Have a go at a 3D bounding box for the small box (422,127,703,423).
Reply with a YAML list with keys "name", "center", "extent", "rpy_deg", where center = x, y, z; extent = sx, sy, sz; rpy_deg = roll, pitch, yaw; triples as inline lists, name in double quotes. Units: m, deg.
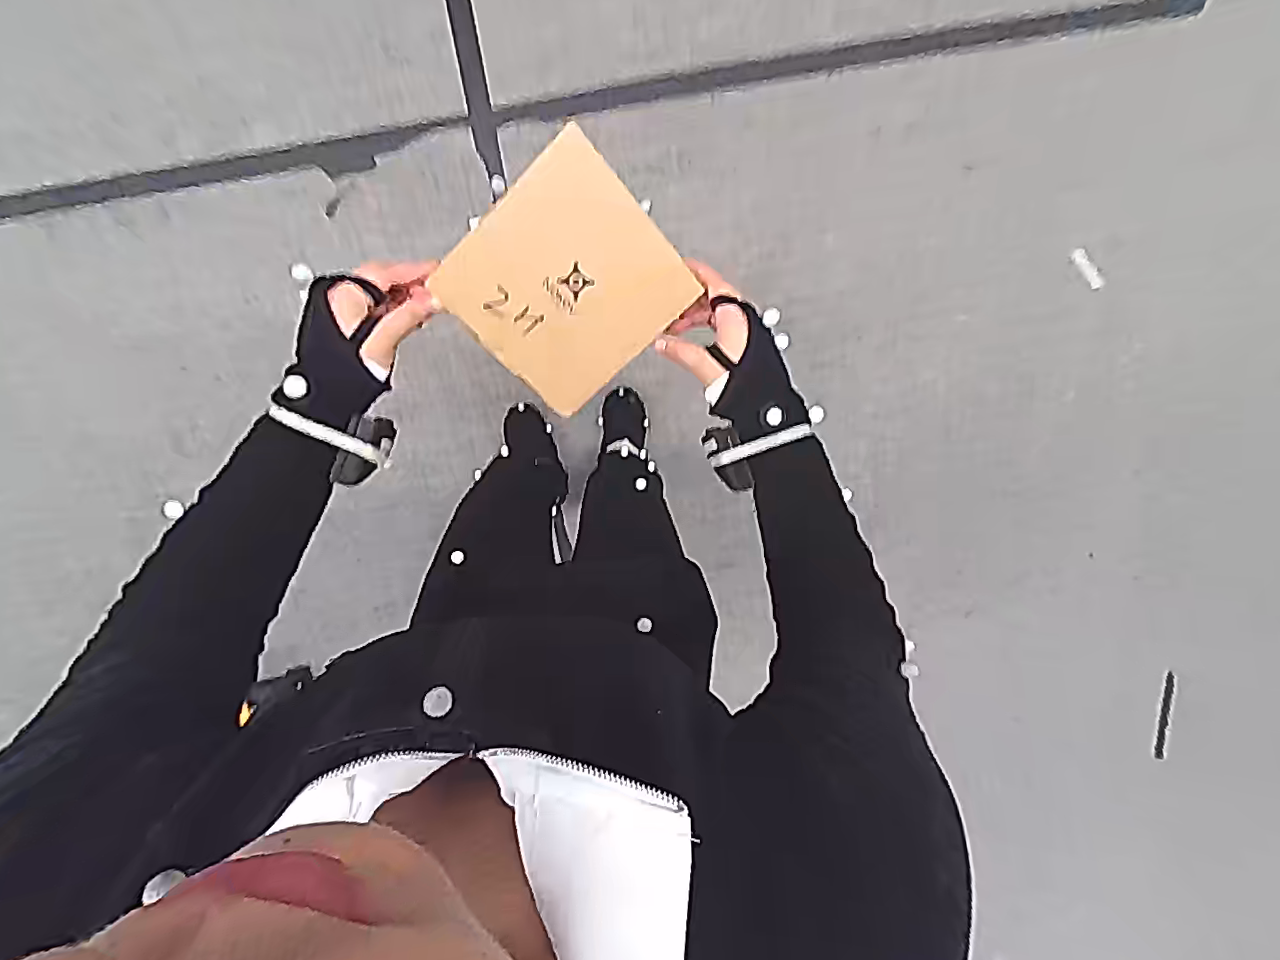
- name: "small box"
  center: [-0.071, -0.193, 0.515]
  extent: [0.179, 0.176, 0.168]
  rpy_deg: [-40, 115, 13]
